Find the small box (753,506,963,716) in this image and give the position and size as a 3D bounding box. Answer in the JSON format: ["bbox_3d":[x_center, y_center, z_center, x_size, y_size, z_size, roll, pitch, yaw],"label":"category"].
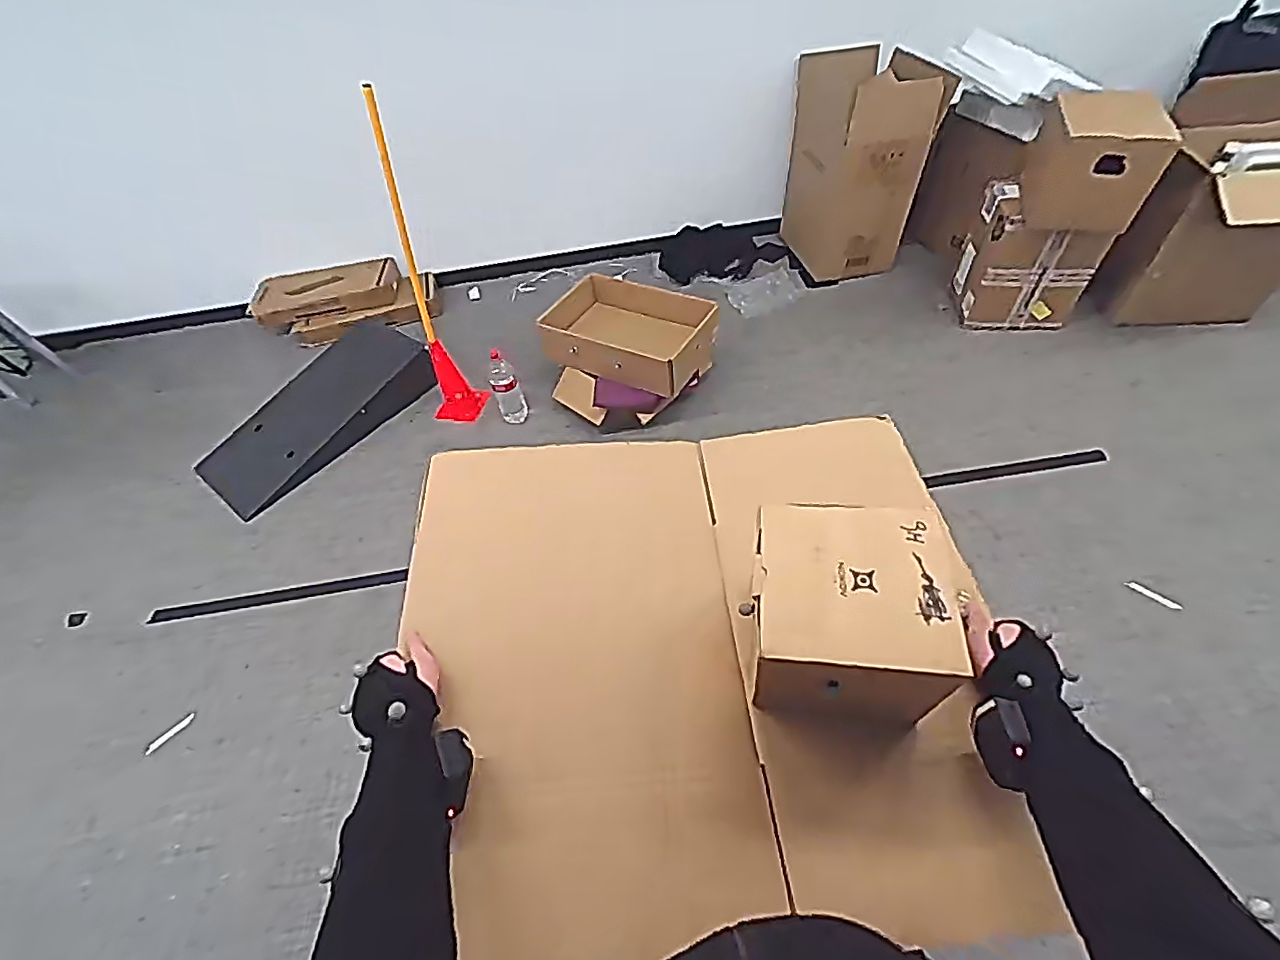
[{"bbox_3d":[0.212,0.143,0.580,0.179,0.176,0.168,1,54,12],"label":"small box"}]
